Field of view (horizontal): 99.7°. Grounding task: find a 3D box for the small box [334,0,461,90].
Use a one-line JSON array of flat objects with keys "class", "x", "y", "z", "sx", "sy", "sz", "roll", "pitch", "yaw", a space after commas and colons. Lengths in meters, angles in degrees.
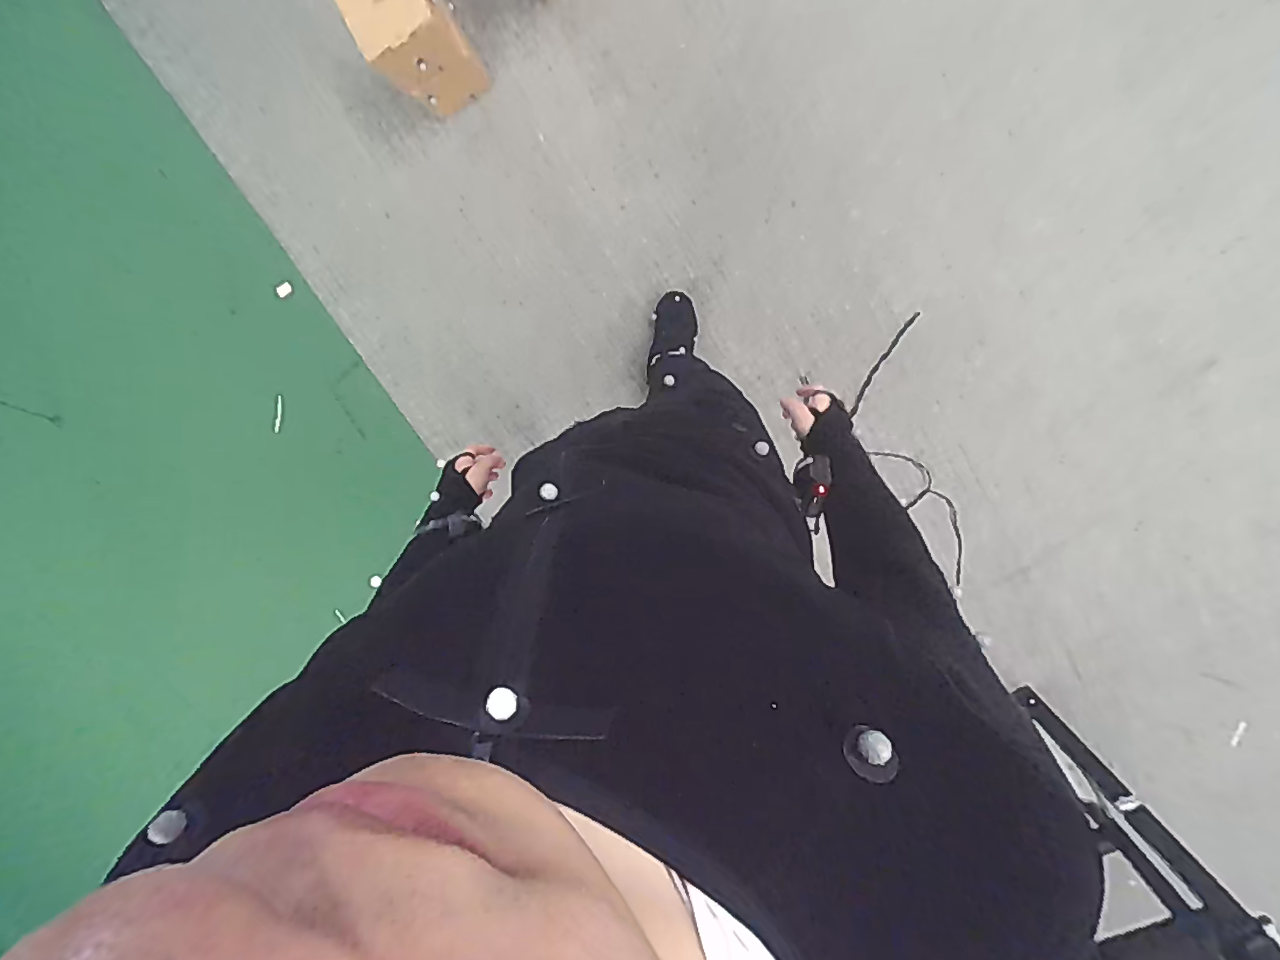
[{"class": "small box", "x": -0.512, "y": -0.972, "z": 1.147, "sx": 0.168, "sy": 0.176, "sz": 0.179, "roll": -24, "pitch": 103, "yaw": 10}]
